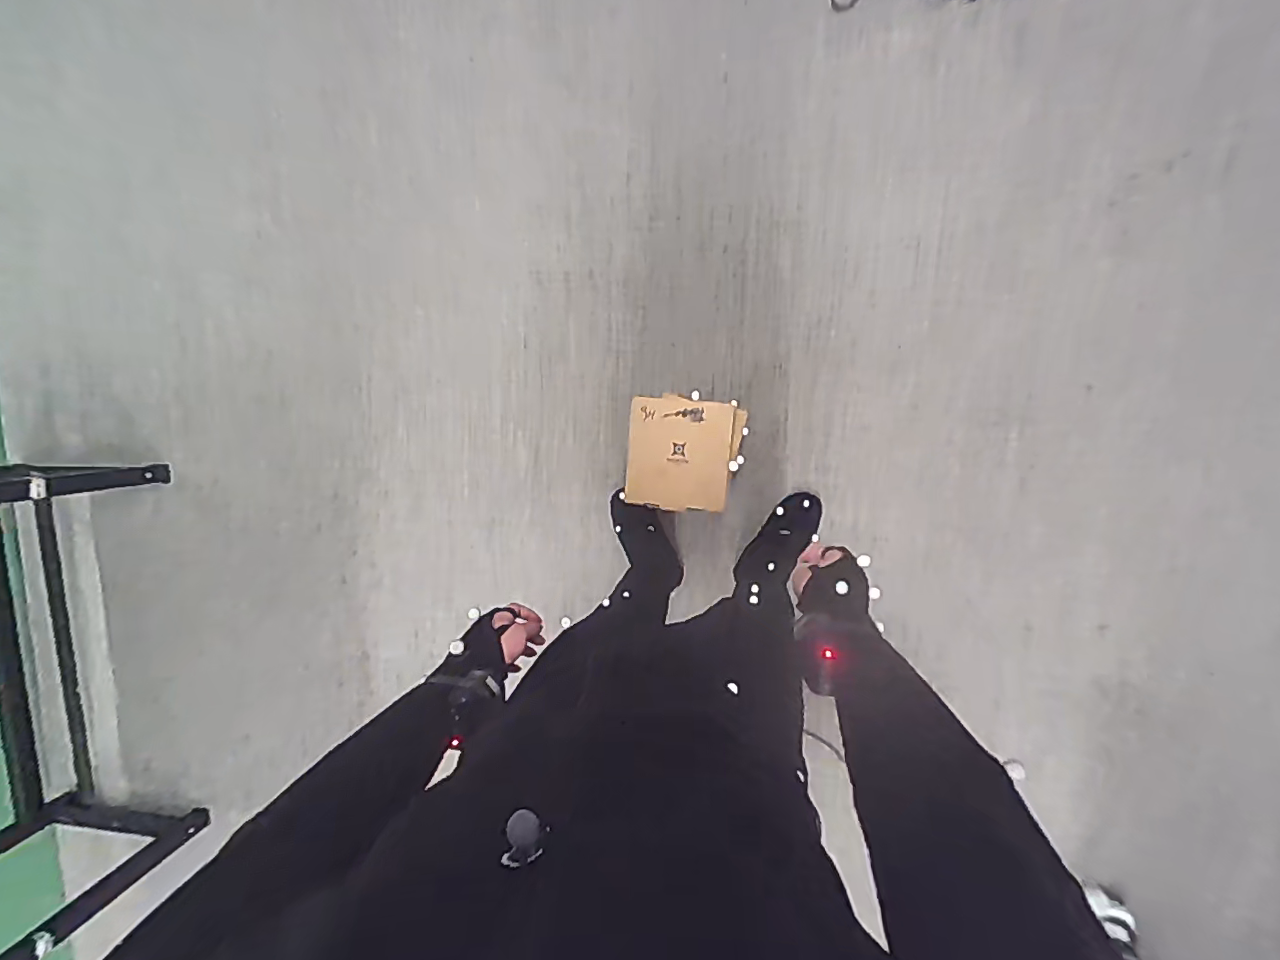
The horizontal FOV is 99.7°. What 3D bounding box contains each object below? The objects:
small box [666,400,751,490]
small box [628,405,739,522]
[{"bbox_3d":[0.122,-0.058,1.107,0.168,0.176,0.179,15,100,9],"label":"small box"},{"bbox_3d":[0.082,-0.036,0.951,0.168,0.176,0.179,7,98,10],"label":"small box"}]
